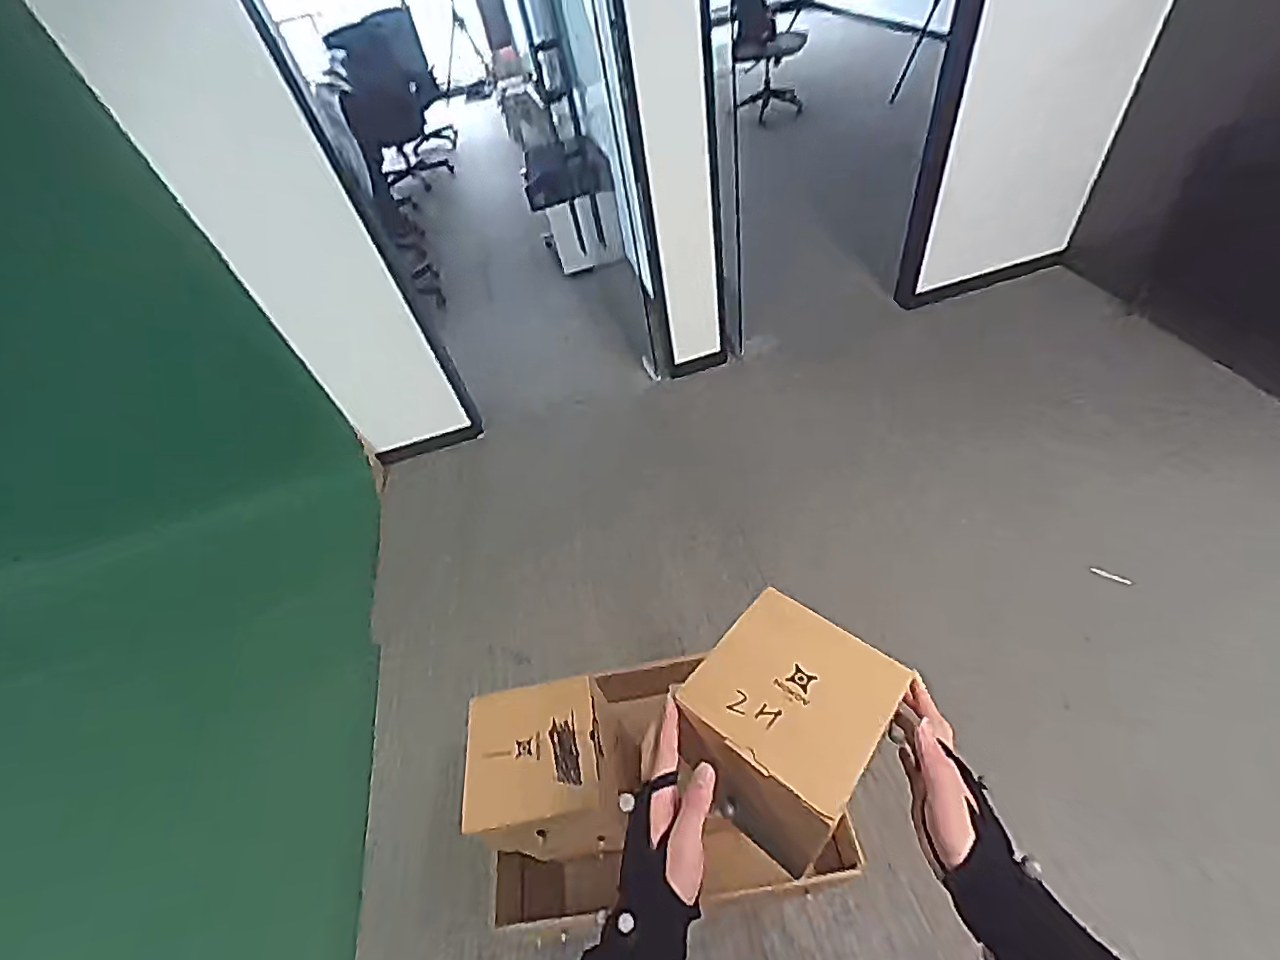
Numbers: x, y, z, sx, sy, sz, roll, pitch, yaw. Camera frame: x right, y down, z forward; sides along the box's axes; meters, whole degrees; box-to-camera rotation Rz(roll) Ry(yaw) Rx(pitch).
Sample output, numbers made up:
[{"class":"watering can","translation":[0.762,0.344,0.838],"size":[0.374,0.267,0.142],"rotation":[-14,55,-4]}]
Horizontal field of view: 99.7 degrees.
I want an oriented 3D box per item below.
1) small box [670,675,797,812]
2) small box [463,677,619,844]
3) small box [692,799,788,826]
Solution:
[{"class":"small box","translation":[0.150,0.439,0.896],"size":[0.179,0.176,0.168],"rotation":[-8,49,5]},{"class":"small box","translation":[-0.131,0.405,0.775],"size":[0.179,0.176,0.168],"rotation":[-12,49,3]},{"class":"small box","translation":[0.180,0.542,1.019],"size":[0.168,0.176,0.179],"rotation":[-8,50,6]}]
